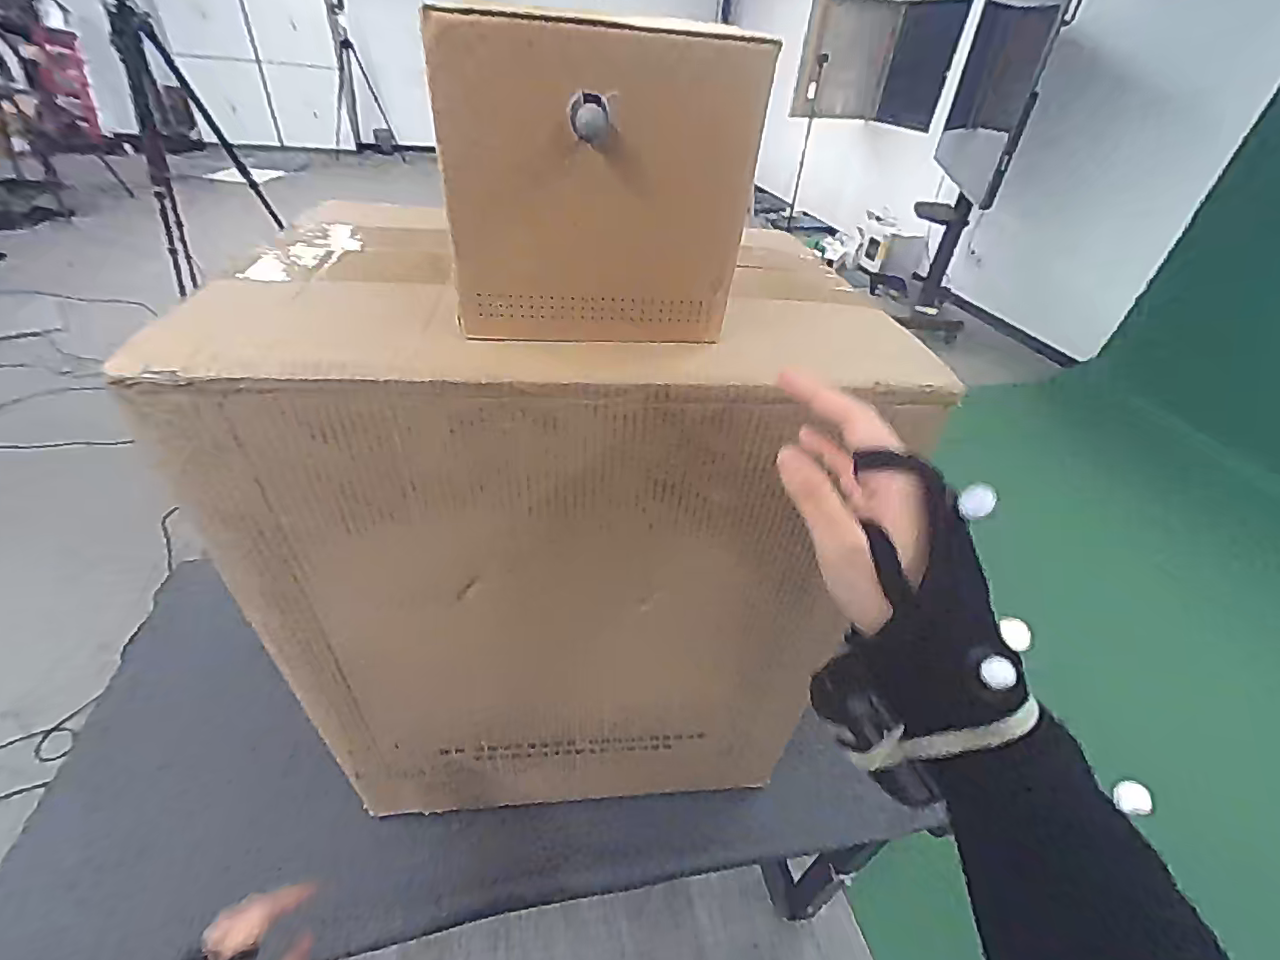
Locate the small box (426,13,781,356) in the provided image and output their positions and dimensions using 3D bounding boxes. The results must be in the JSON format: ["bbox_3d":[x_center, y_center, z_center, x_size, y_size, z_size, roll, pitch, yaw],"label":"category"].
[{"bbox_3d":[-0.029,-0.196,0.371,0.179,0.176,0.168,-1,42,-8],"label":"small box"}]
